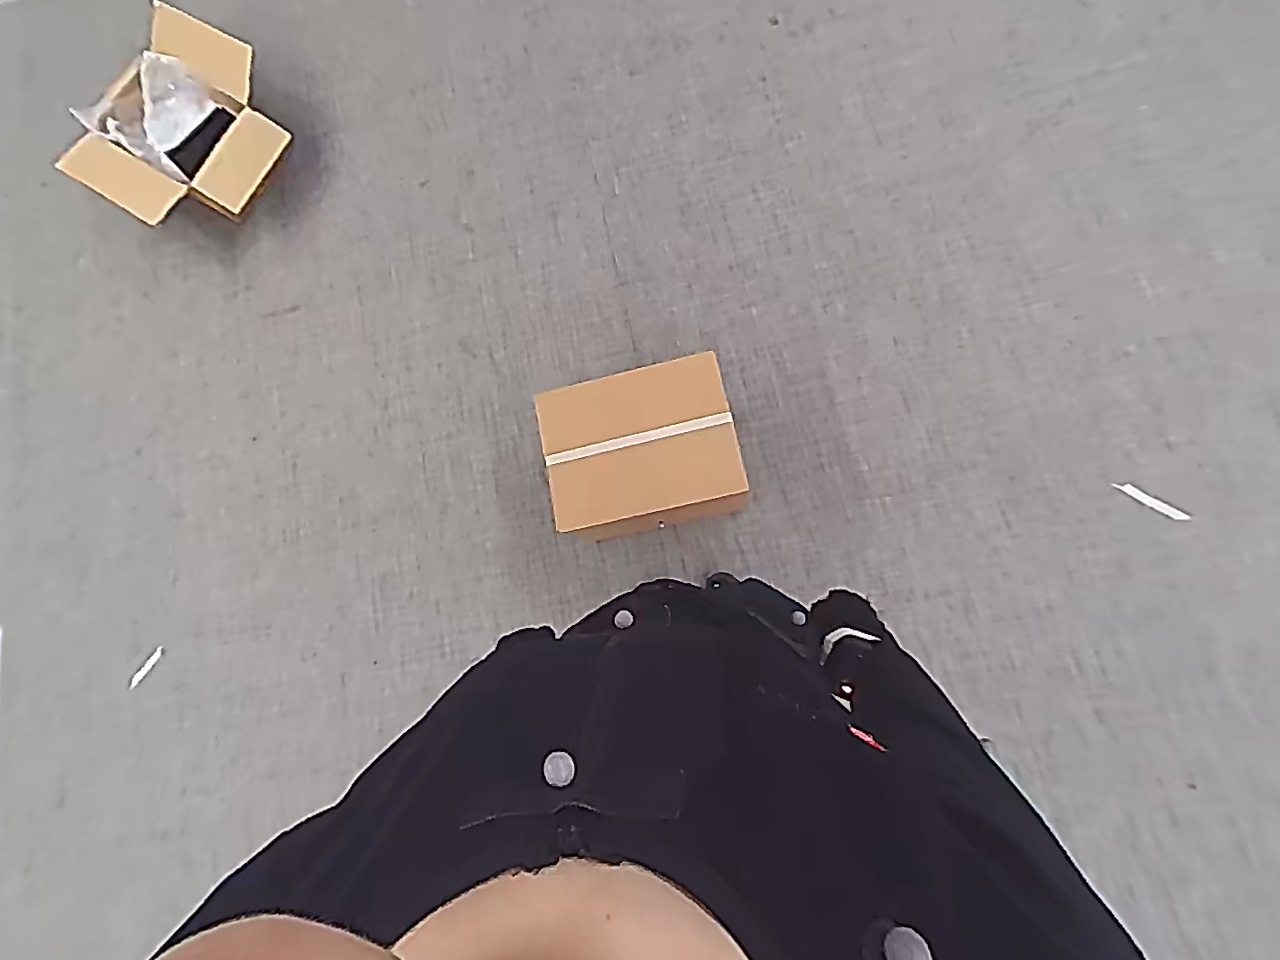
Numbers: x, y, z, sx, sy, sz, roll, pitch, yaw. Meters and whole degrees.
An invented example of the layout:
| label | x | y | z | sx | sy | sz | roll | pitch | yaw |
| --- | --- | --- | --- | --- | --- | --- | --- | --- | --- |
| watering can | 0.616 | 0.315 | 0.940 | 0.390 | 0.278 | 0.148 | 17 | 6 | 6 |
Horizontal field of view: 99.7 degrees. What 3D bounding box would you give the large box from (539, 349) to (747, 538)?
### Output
| label | x | y | z | sx | sy | sz | roll | pitch | yaw |
| --- | --- | --- | --- | --- | --- | --- | --- | --- | --- |
| large box | 0.016 | -0.063 | 1.288 | 0.408 | 0.320 | 0.320 | -13 | 79 | 6 |
